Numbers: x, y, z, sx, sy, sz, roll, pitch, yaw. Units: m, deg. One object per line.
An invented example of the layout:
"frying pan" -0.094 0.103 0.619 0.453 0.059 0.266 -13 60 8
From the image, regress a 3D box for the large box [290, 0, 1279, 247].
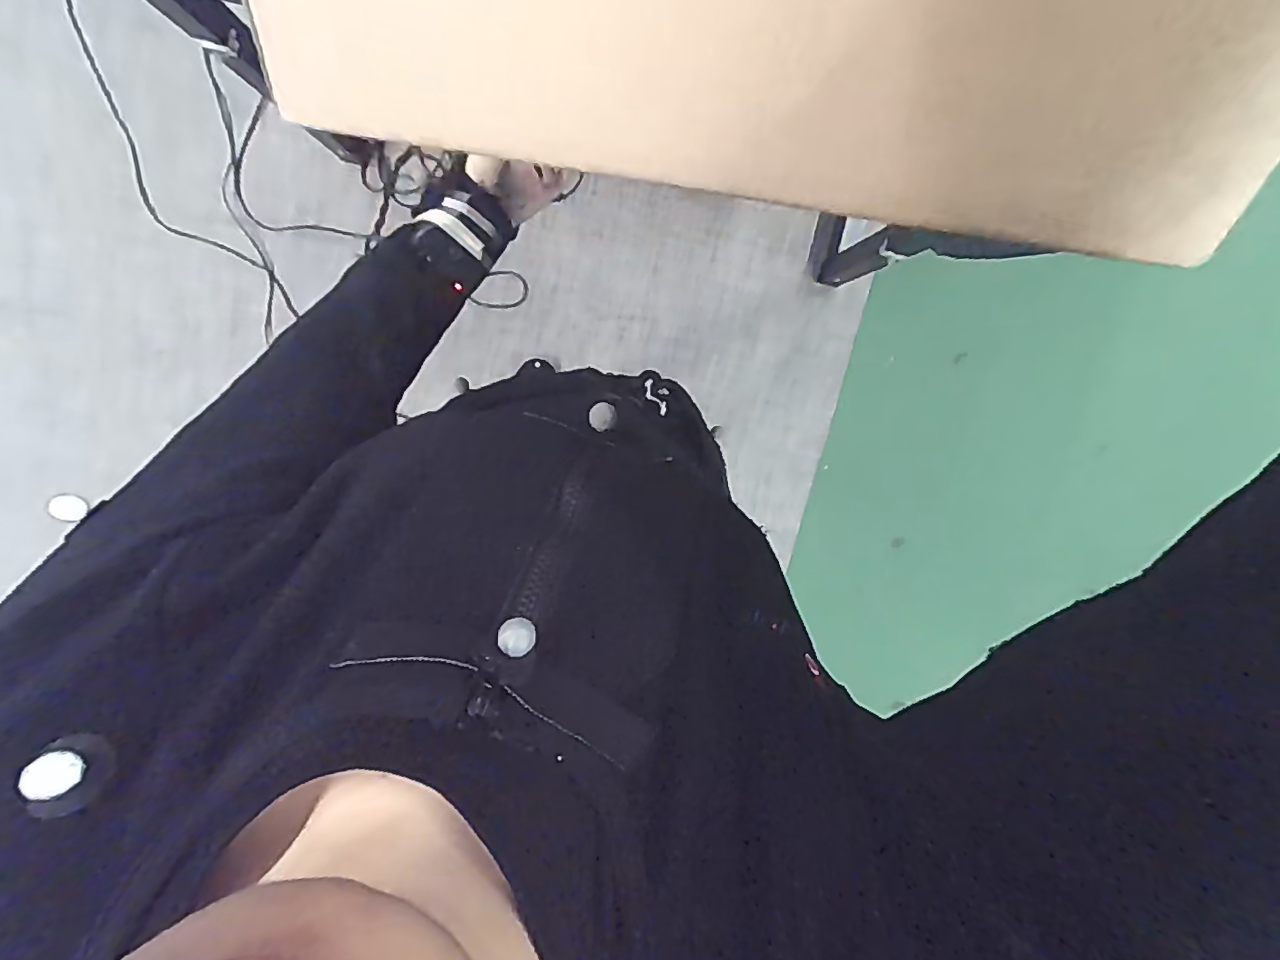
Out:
"large box" 0.075 -0.333 0.266 0.408 0.320 0.320 12 129 10
